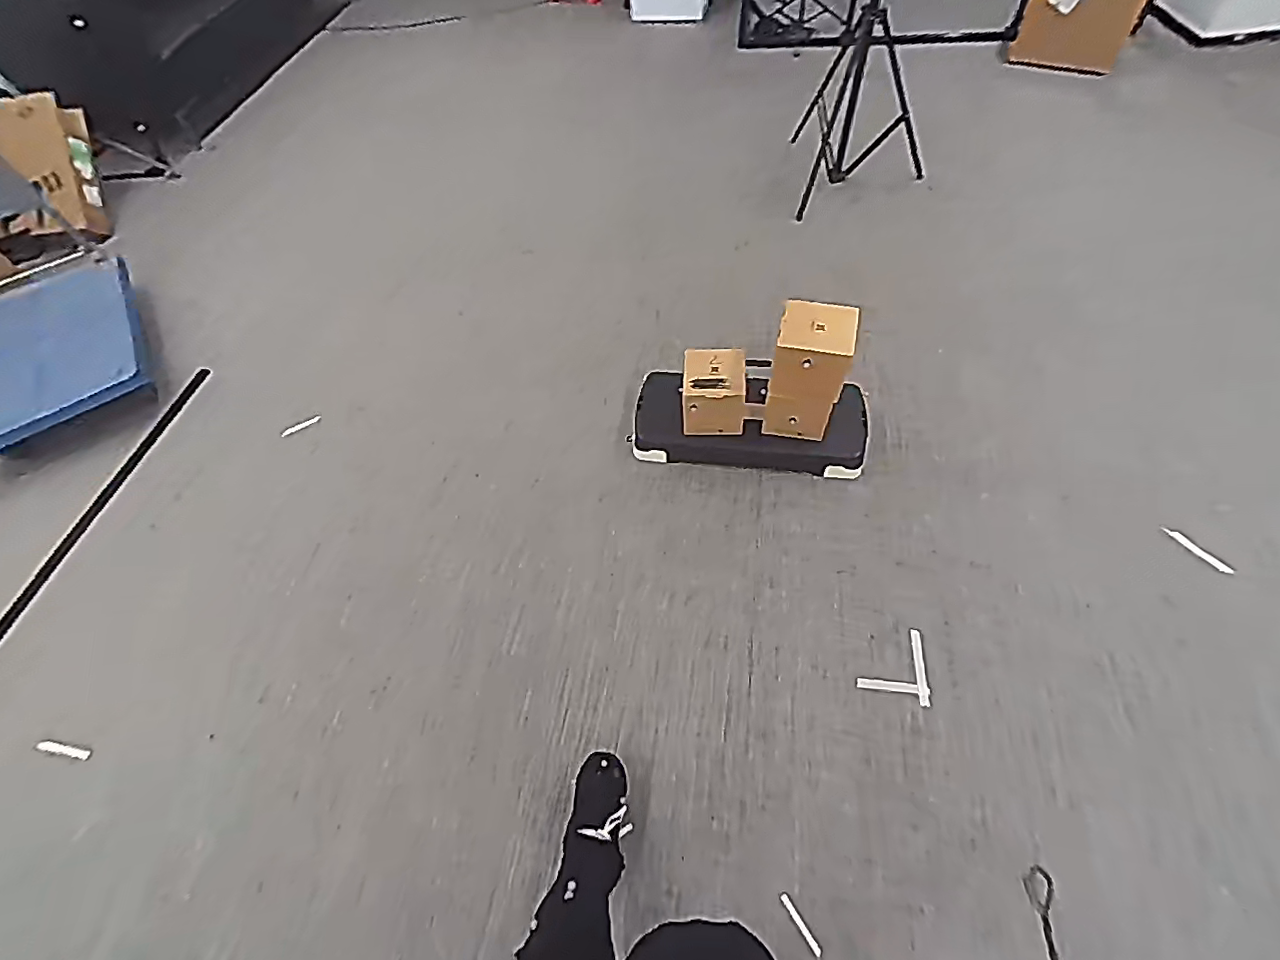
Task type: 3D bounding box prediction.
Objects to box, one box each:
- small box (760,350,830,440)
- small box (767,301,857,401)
[{"bbox_3d":[0.428,-0.232,1.489,0.168,0.176,0.179,9,59,11],"label":"small box"},{"bbox_3d":[0.425,-0.317,1.350,0.179,0.176,0.168,11,60,13],"label":"small box"}]
